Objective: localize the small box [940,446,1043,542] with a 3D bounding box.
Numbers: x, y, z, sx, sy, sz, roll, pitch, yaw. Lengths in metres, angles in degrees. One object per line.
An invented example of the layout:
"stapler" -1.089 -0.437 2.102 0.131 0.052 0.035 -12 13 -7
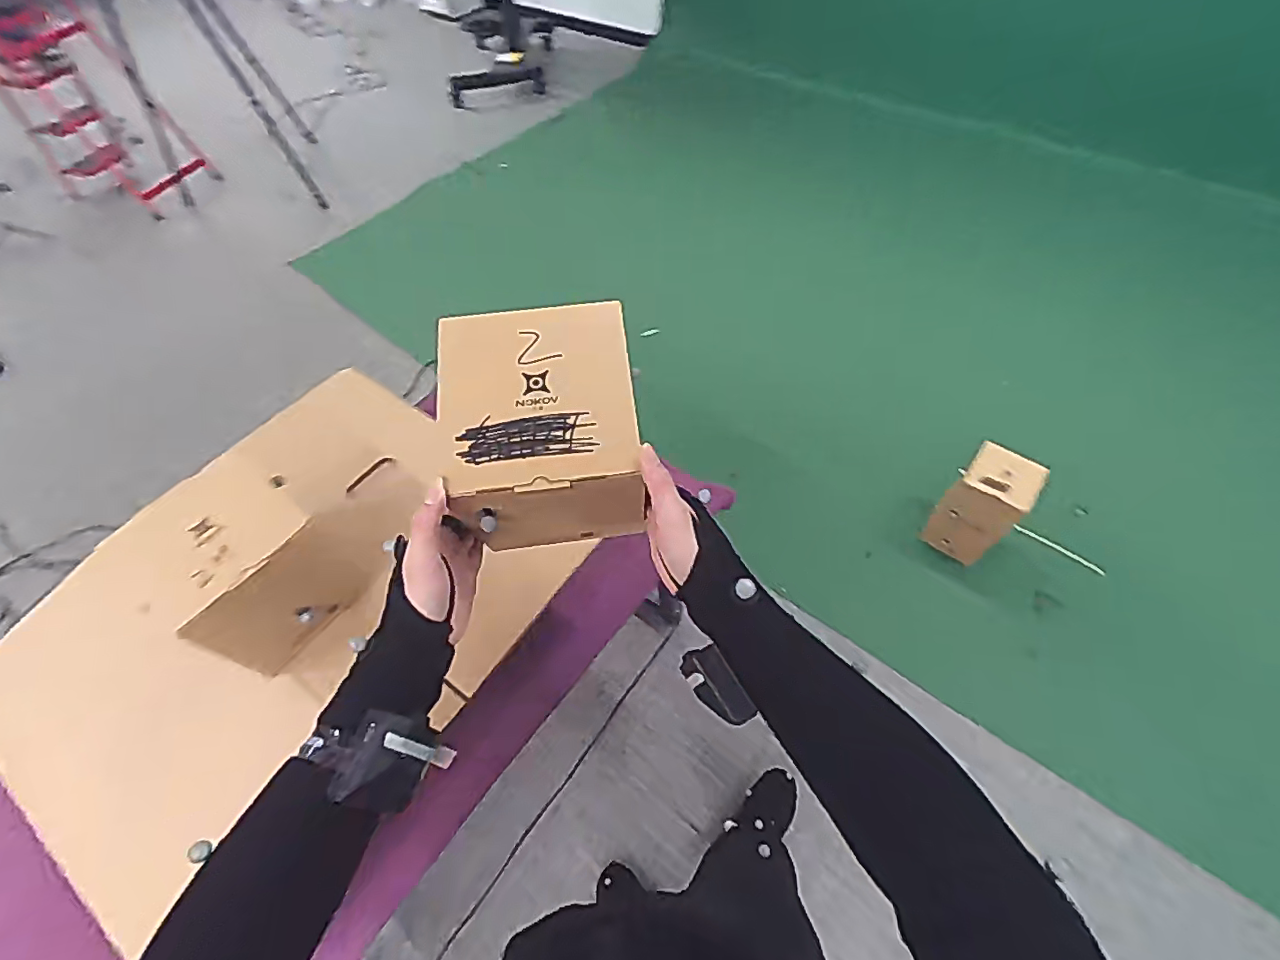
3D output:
"small box" 0.985 0.044 1.531 0.168 0.176 0.179 33 63 22

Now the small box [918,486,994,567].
"small box" 0.993 0.135 1.667 0.168 0.176 0.179 32 64 22

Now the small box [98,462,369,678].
"small box" -0.482 0.116 0.669 0.179 0.176 0.168 30 62 20
